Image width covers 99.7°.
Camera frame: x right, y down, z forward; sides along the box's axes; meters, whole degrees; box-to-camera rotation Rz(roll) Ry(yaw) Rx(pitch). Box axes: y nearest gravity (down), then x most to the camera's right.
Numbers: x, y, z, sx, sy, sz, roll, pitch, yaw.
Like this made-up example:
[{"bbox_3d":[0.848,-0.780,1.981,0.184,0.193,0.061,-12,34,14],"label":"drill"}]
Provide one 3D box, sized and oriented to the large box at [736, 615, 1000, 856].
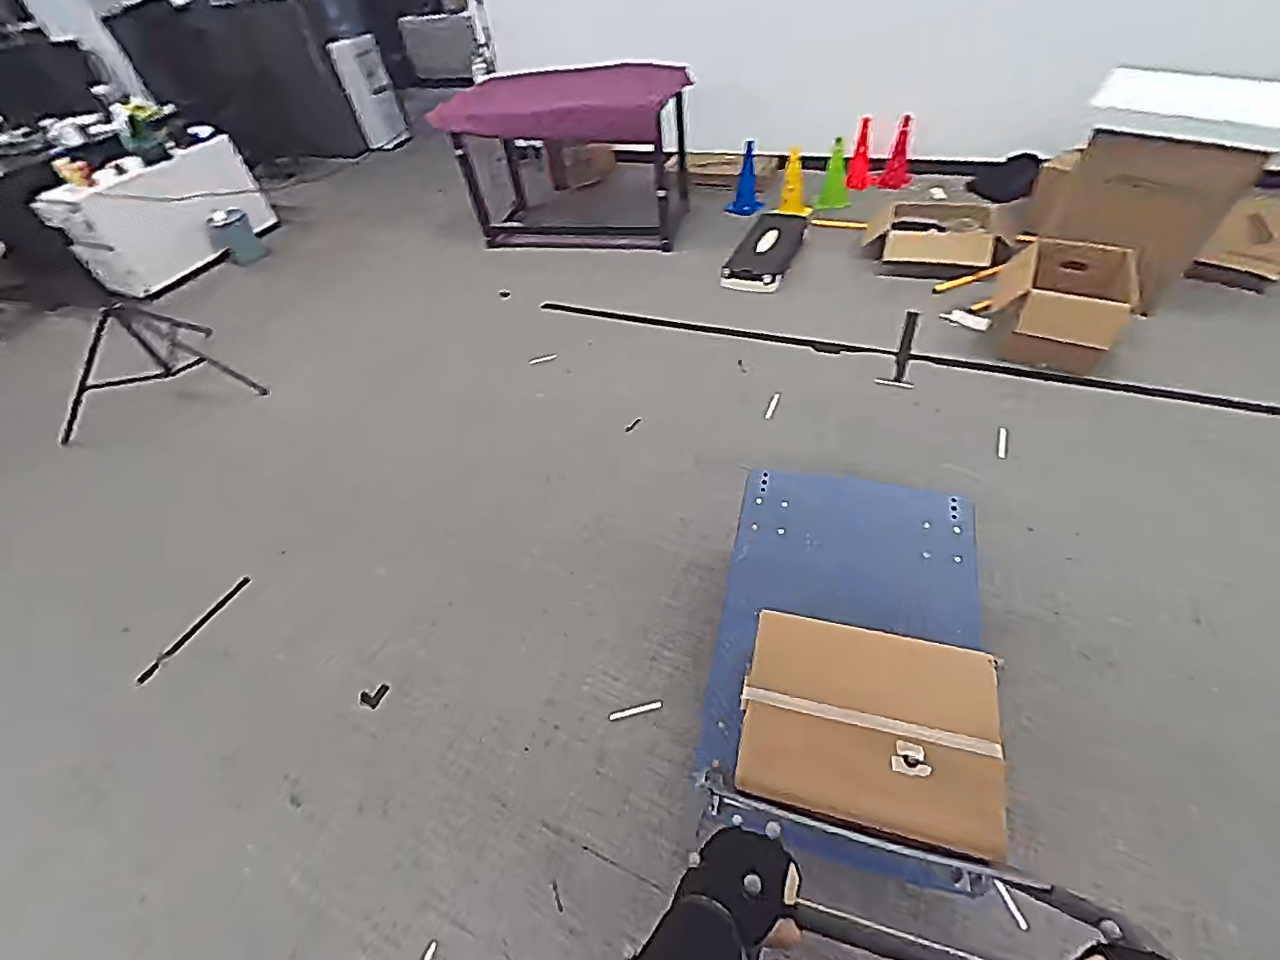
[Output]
[{"bbox_3d":[0.410,0.493,1.061,0.408,0.320,0.320,9,62,14],"label":"large box"}]
